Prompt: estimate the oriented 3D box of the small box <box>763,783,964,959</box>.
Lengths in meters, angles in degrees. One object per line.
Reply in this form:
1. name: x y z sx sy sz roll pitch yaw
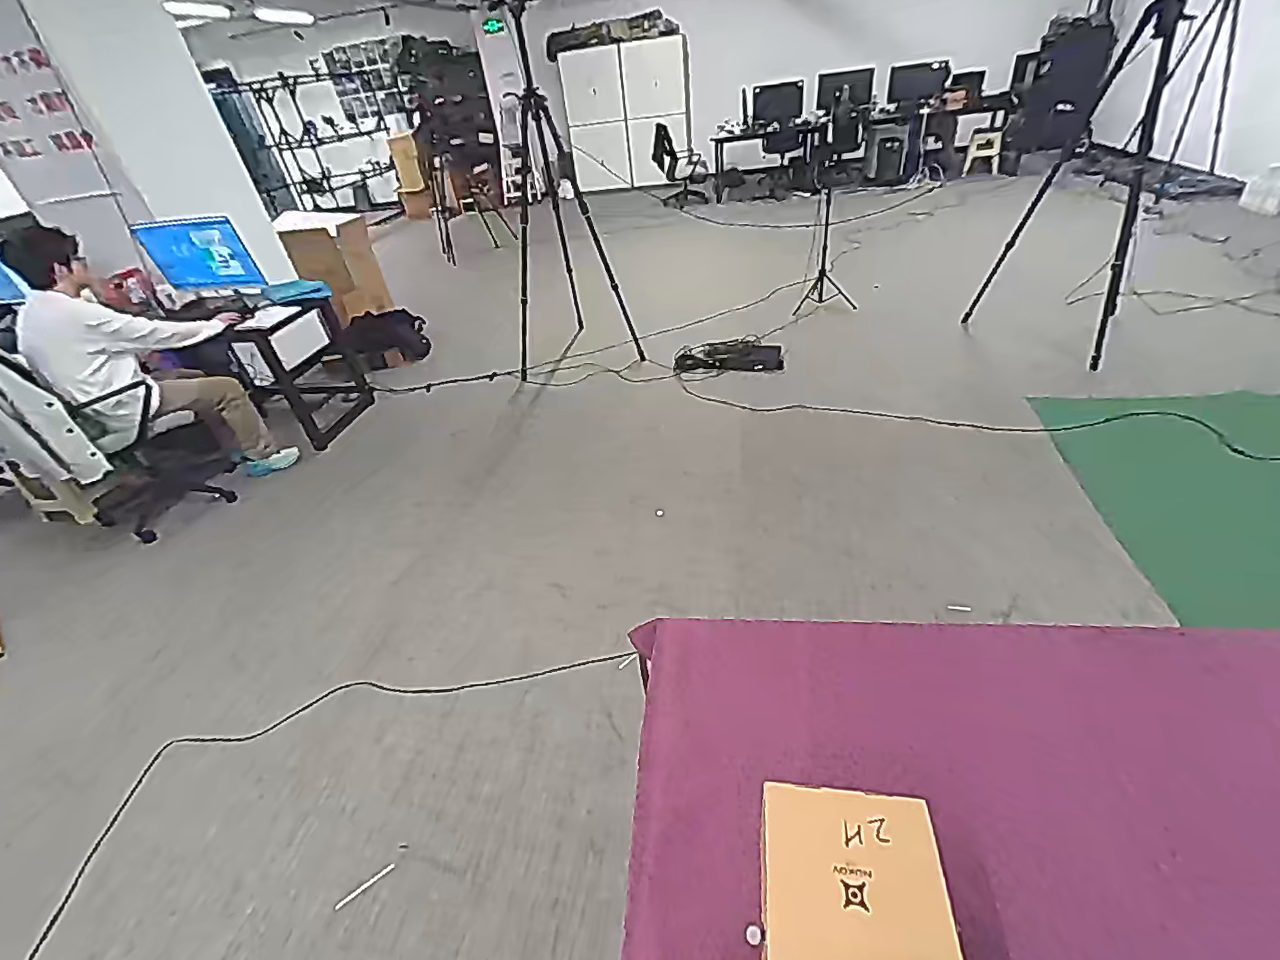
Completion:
1. small box: 0.214 0.448 0.555 0.168 0.176 0.179 1 37 12
